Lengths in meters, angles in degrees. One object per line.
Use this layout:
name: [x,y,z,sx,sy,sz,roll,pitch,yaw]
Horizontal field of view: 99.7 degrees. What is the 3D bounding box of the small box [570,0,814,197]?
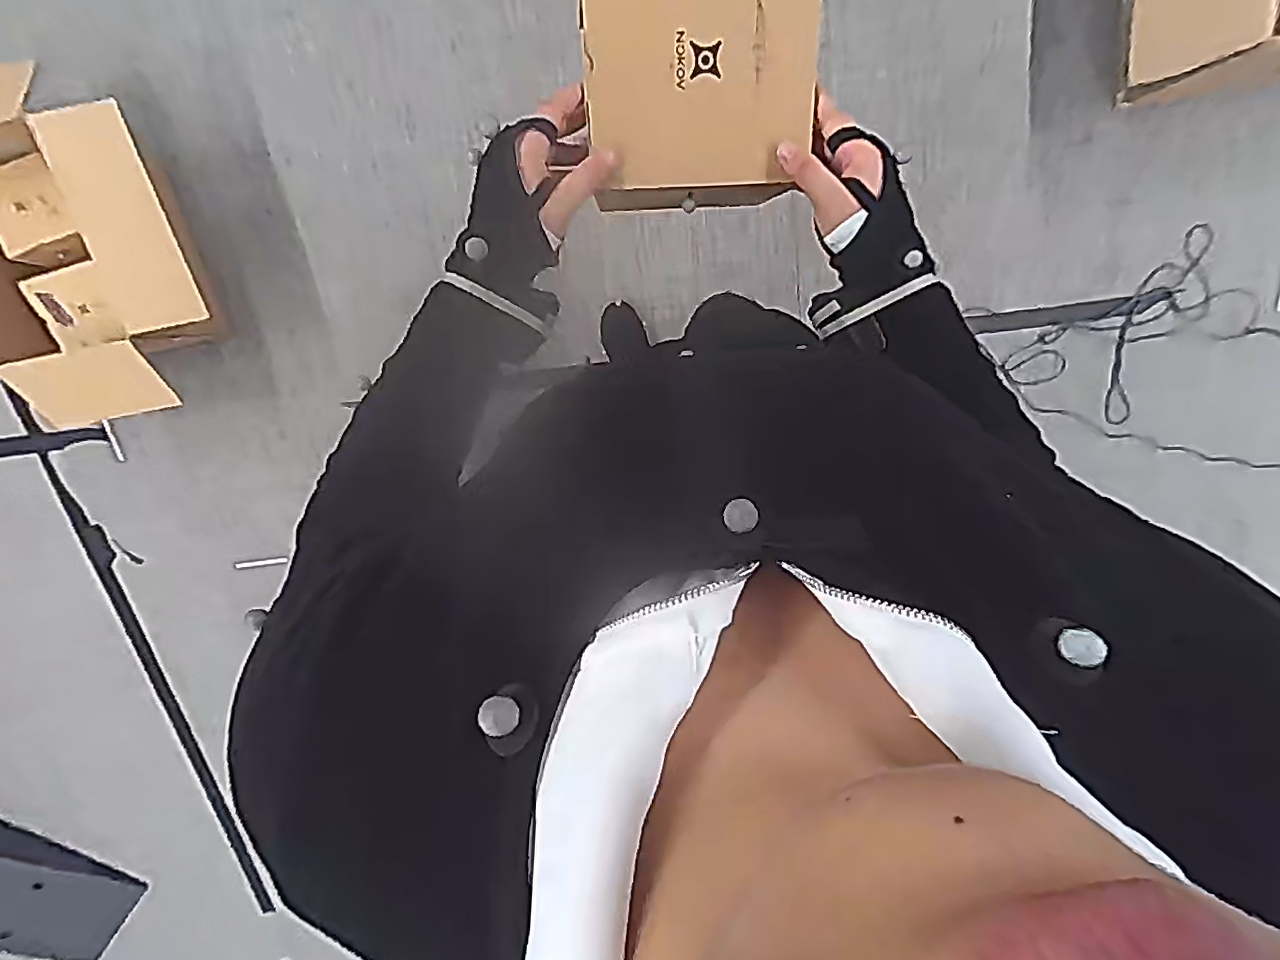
small box: [0.036,-0.349,0.467,0.179,0.176,0.168,-4,112,-2]
